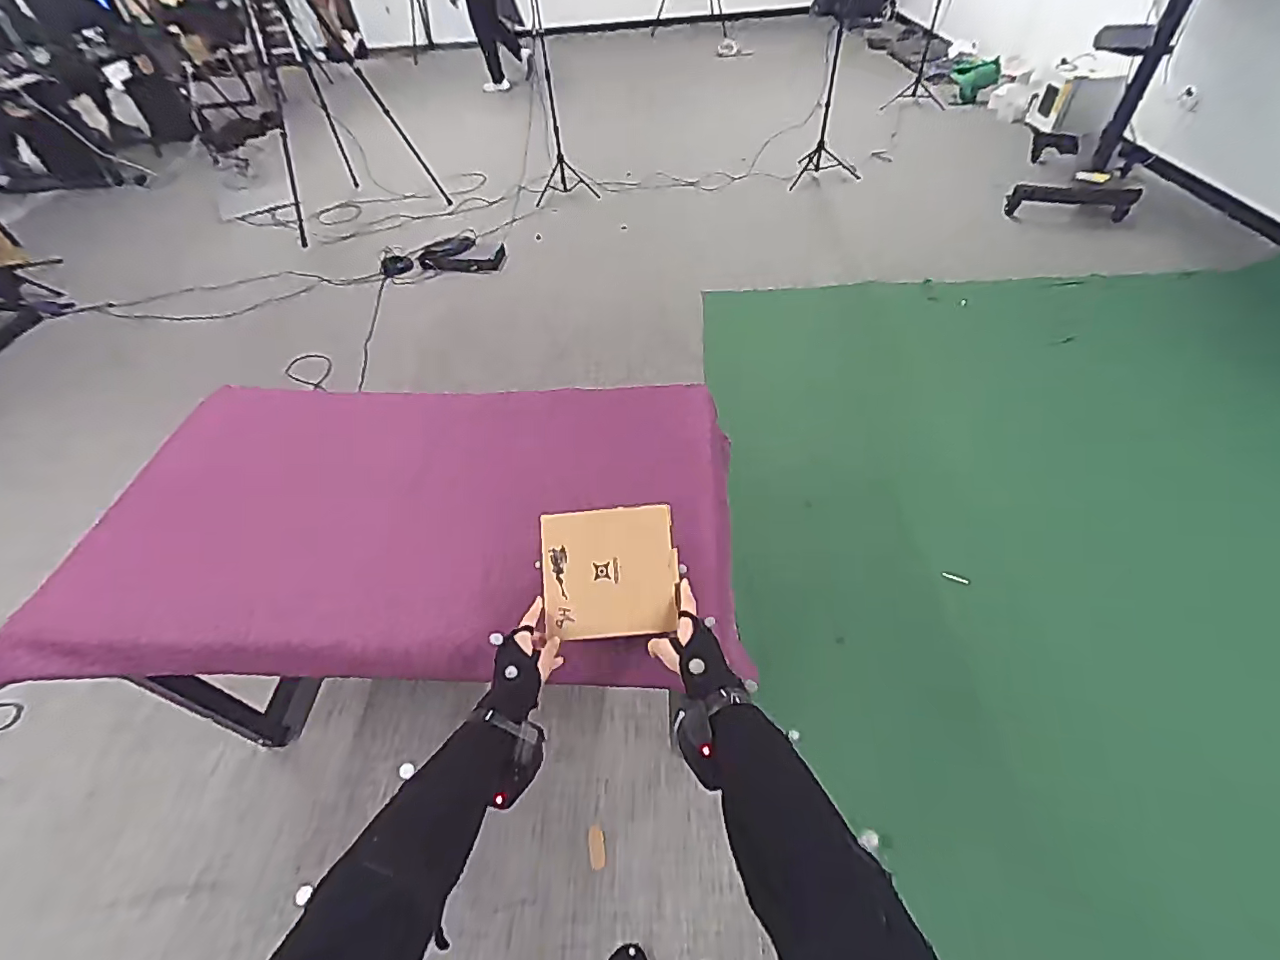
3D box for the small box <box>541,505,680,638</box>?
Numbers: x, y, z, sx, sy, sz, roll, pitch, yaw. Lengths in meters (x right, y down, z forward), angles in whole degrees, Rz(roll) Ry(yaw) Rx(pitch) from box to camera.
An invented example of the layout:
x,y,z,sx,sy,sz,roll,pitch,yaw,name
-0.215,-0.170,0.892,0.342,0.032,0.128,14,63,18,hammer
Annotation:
x,y,z,sx,sy,sz,roll,pitch,yaw,name
-0.039,0.135,0.783,0.179,0.176,0.168,-5,76,2,small box
